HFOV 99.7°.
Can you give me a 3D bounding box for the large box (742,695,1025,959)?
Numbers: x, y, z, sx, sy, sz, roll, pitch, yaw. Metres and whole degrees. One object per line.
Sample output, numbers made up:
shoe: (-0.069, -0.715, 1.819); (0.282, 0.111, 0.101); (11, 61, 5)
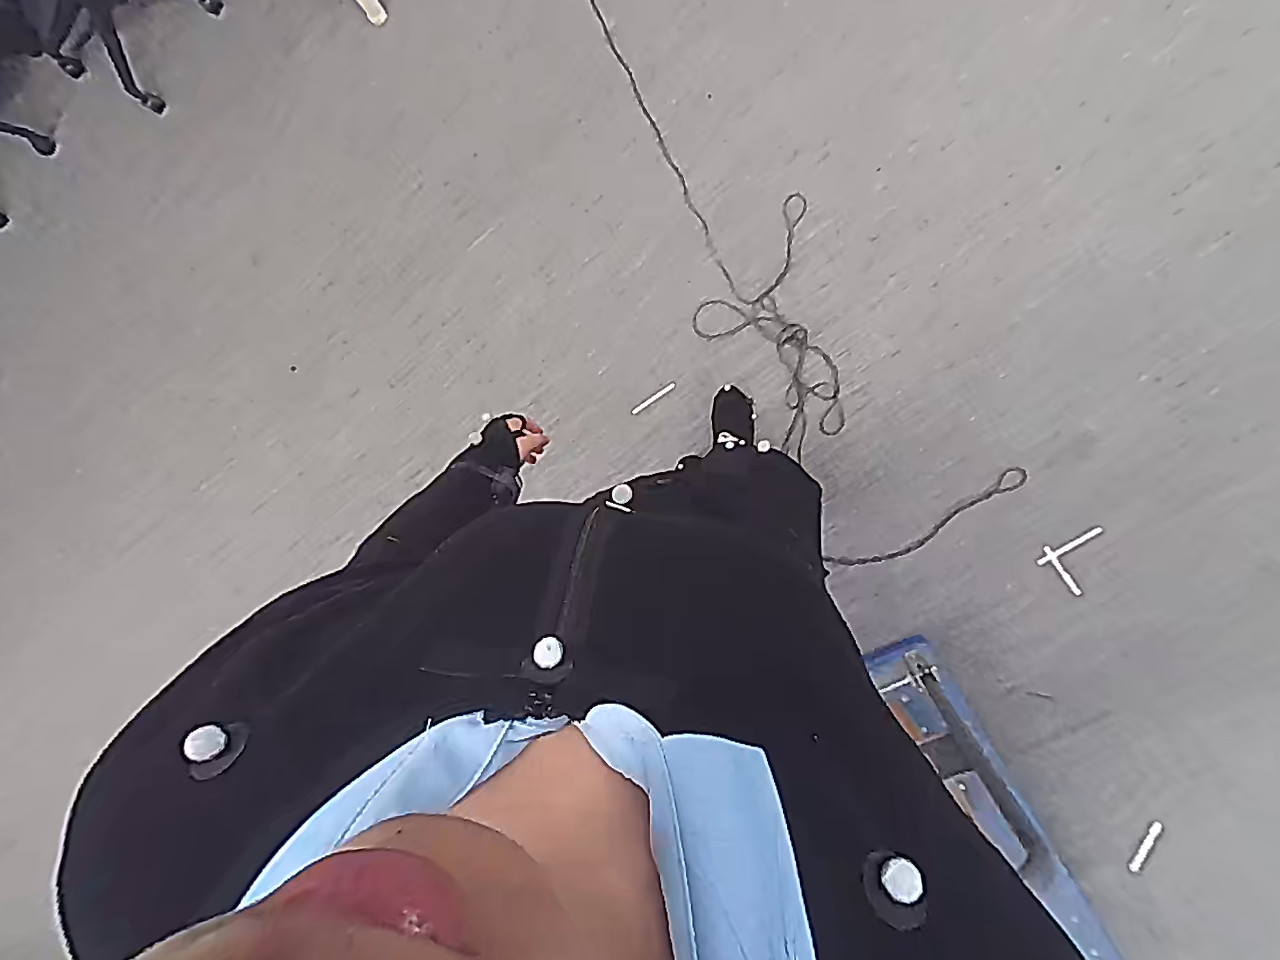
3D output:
large box: (0.472, 0.739, 1.144); (0.408, 0.320, 0.320); (-35, 85, 14)
